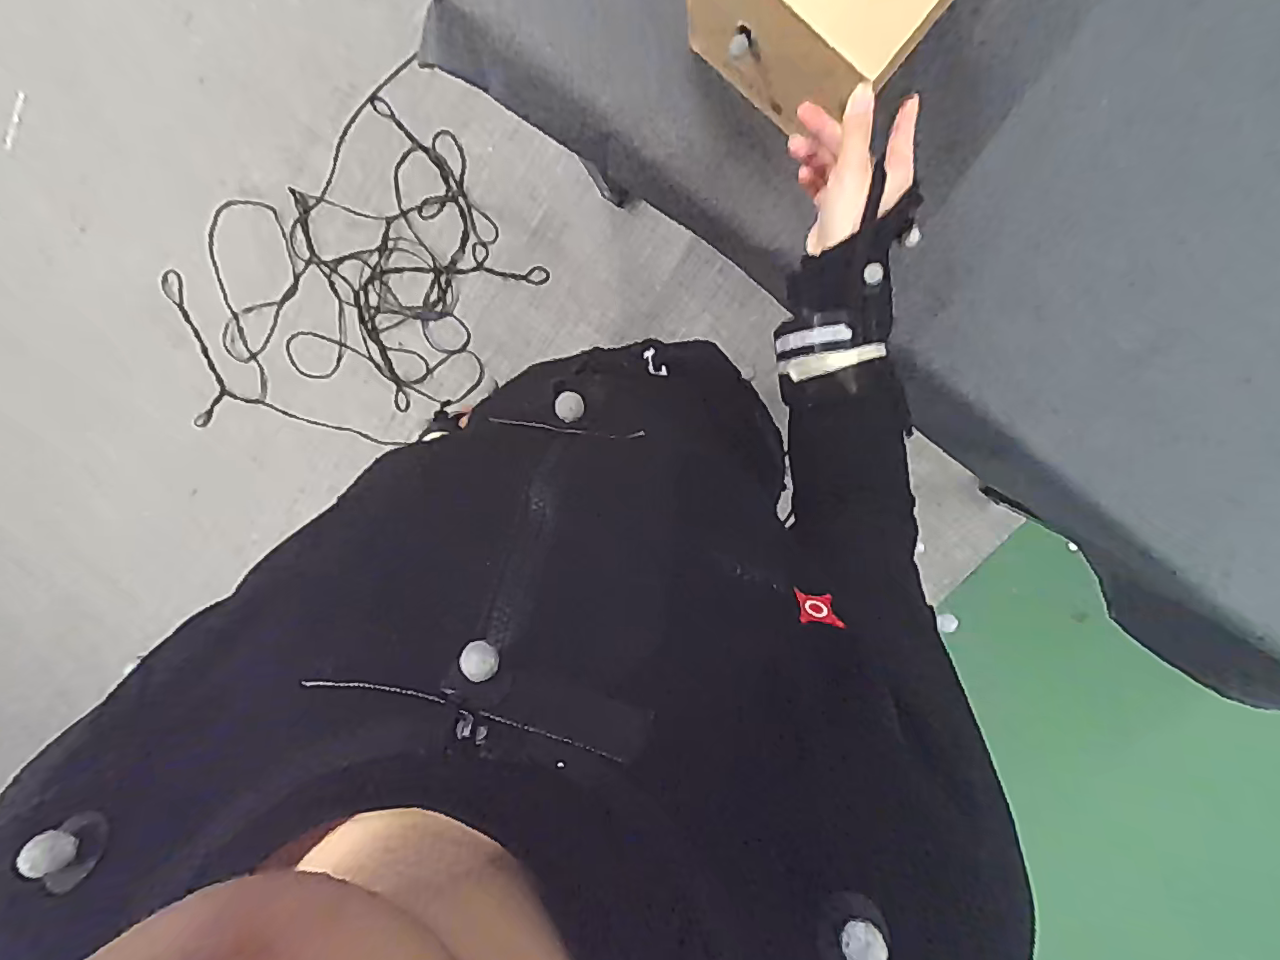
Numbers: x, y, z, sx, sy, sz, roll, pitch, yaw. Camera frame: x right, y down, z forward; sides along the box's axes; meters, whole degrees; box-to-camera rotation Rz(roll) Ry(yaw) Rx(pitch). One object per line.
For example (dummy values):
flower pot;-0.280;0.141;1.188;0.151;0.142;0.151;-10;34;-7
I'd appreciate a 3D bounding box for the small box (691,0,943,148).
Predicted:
small box;0.150;-0.400;0.409;0.168;0.176;0.179;39;103;-4
